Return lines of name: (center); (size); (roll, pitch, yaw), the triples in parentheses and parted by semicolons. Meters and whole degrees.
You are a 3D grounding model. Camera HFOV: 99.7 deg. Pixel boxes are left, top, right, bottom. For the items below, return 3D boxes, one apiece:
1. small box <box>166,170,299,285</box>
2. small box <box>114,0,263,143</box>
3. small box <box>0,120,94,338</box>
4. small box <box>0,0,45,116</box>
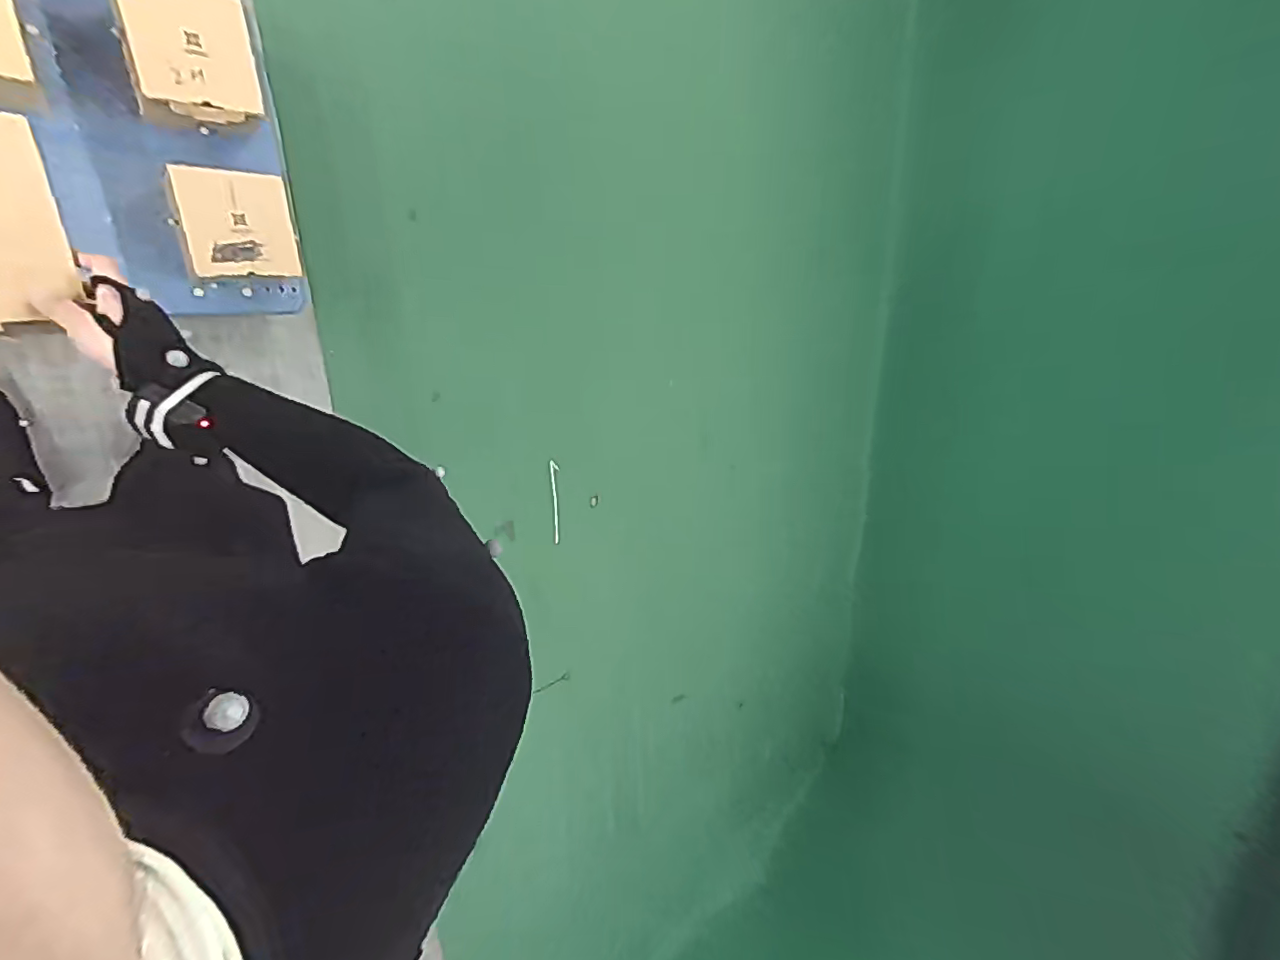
small box: (-0.781, -0.470, 1.038); (0.168, 0.176, 0.179); (-17, 112, -39)
small box: (-0.785, -0.718, 0.942); (0.168, 0.176, 0.179); (-16, 113, -38)
small box: (-0.635, -0.218, 0.489); (0.168, 0.176, 0.179); (-20, 112, -45)
small box: (-0.996, -0.653, 0.769); (0.168, 0.176, 0.179); (-16, 114, -40)
